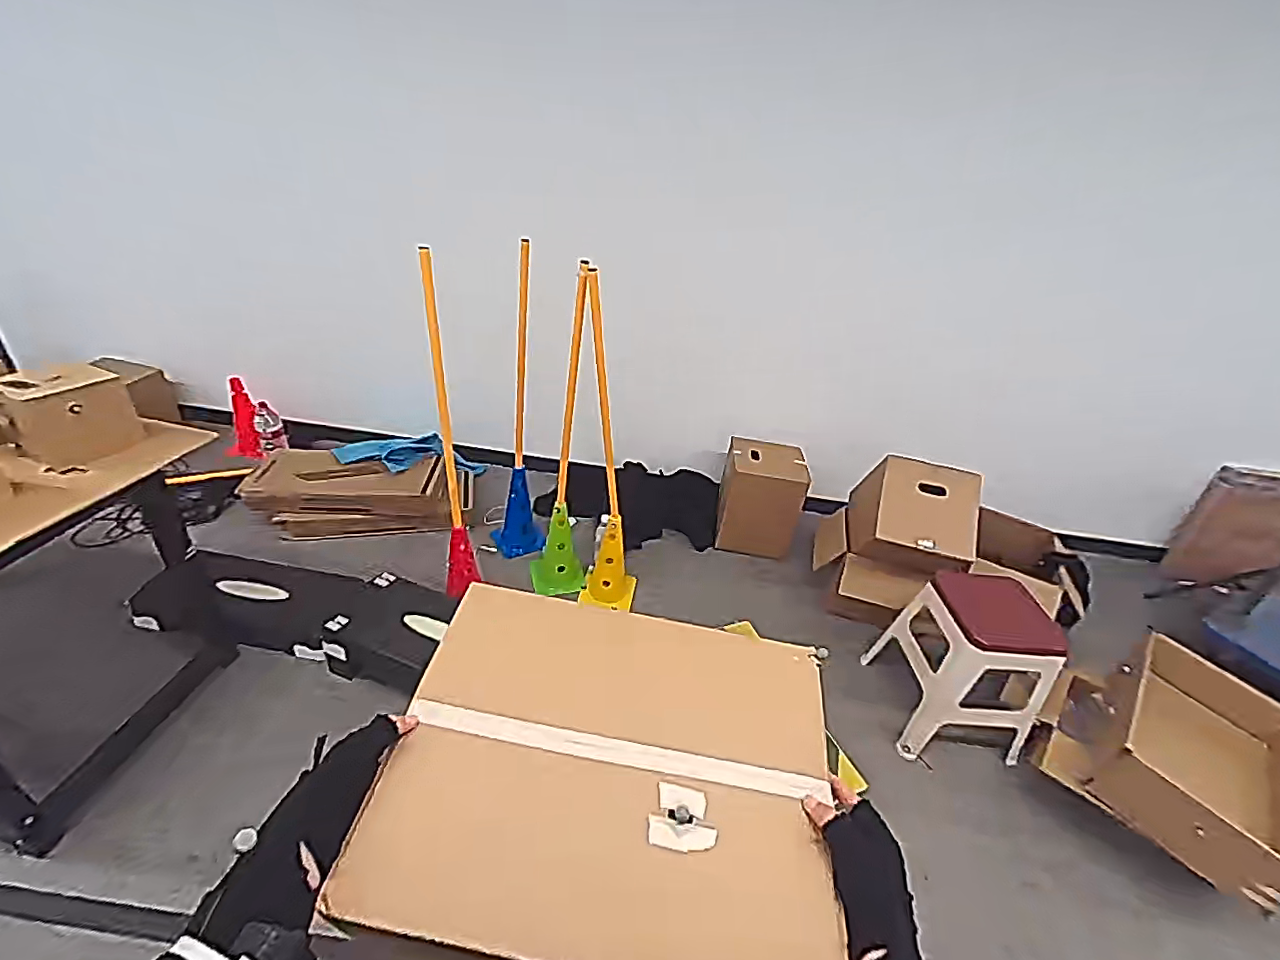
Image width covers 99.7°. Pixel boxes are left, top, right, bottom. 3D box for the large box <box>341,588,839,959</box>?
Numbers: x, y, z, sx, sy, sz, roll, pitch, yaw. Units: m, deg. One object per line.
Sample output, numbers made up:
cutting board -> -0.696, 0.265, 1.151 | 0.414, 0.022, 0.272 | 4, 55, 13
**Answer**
large box -> -0.037, 0.371, 0.622 | 0.408, 0.320, 0.320 | 11, 42, 3
